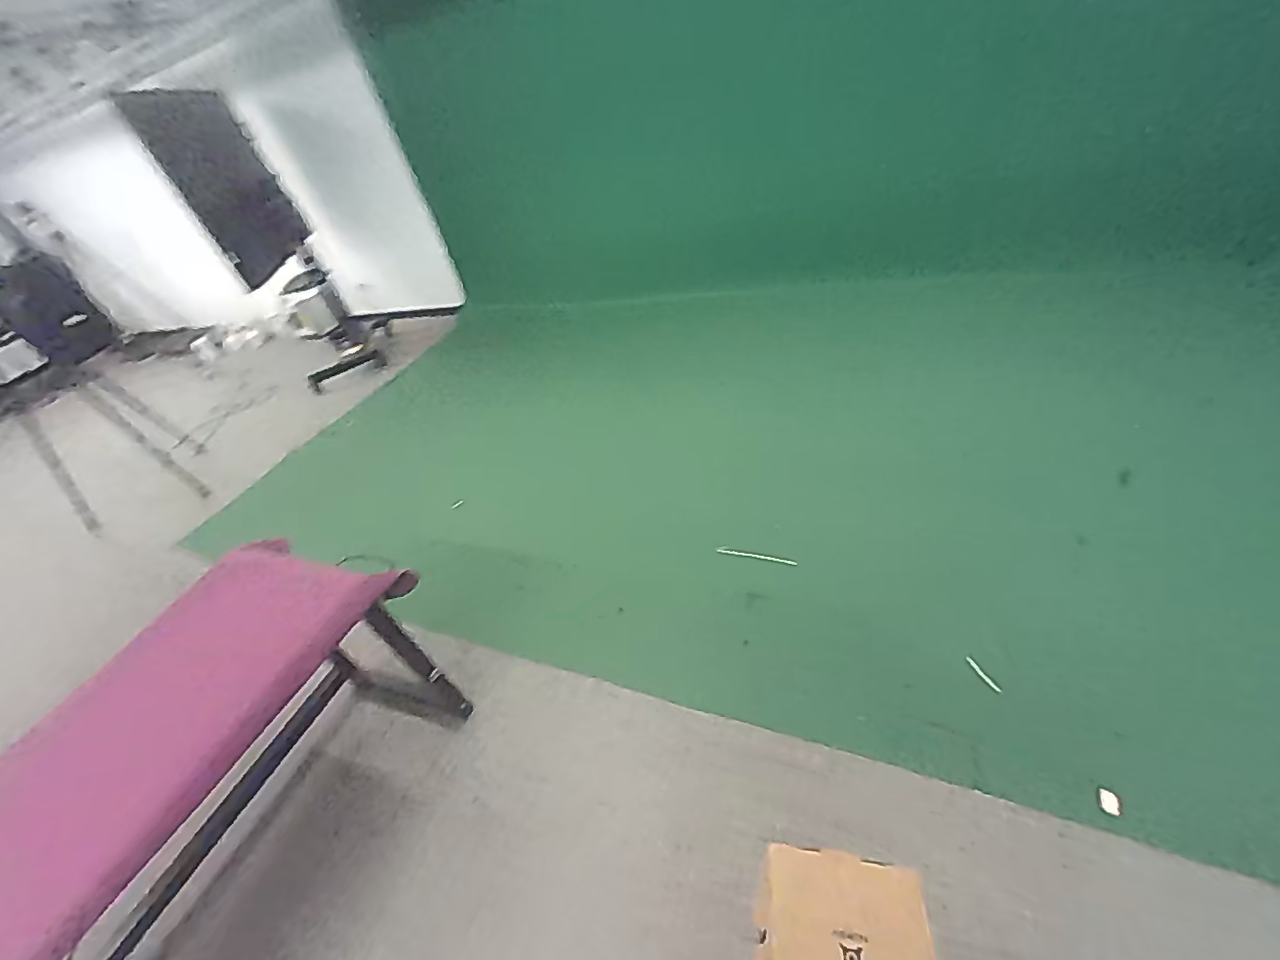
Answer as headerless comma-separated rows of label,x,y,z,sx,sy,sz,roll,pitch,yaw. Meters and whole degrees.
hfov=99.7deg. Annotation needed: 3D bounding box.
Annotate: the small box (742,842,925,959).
small box,0.201,0.538,0.585,0.168,0.176,0.179,5,33,7
